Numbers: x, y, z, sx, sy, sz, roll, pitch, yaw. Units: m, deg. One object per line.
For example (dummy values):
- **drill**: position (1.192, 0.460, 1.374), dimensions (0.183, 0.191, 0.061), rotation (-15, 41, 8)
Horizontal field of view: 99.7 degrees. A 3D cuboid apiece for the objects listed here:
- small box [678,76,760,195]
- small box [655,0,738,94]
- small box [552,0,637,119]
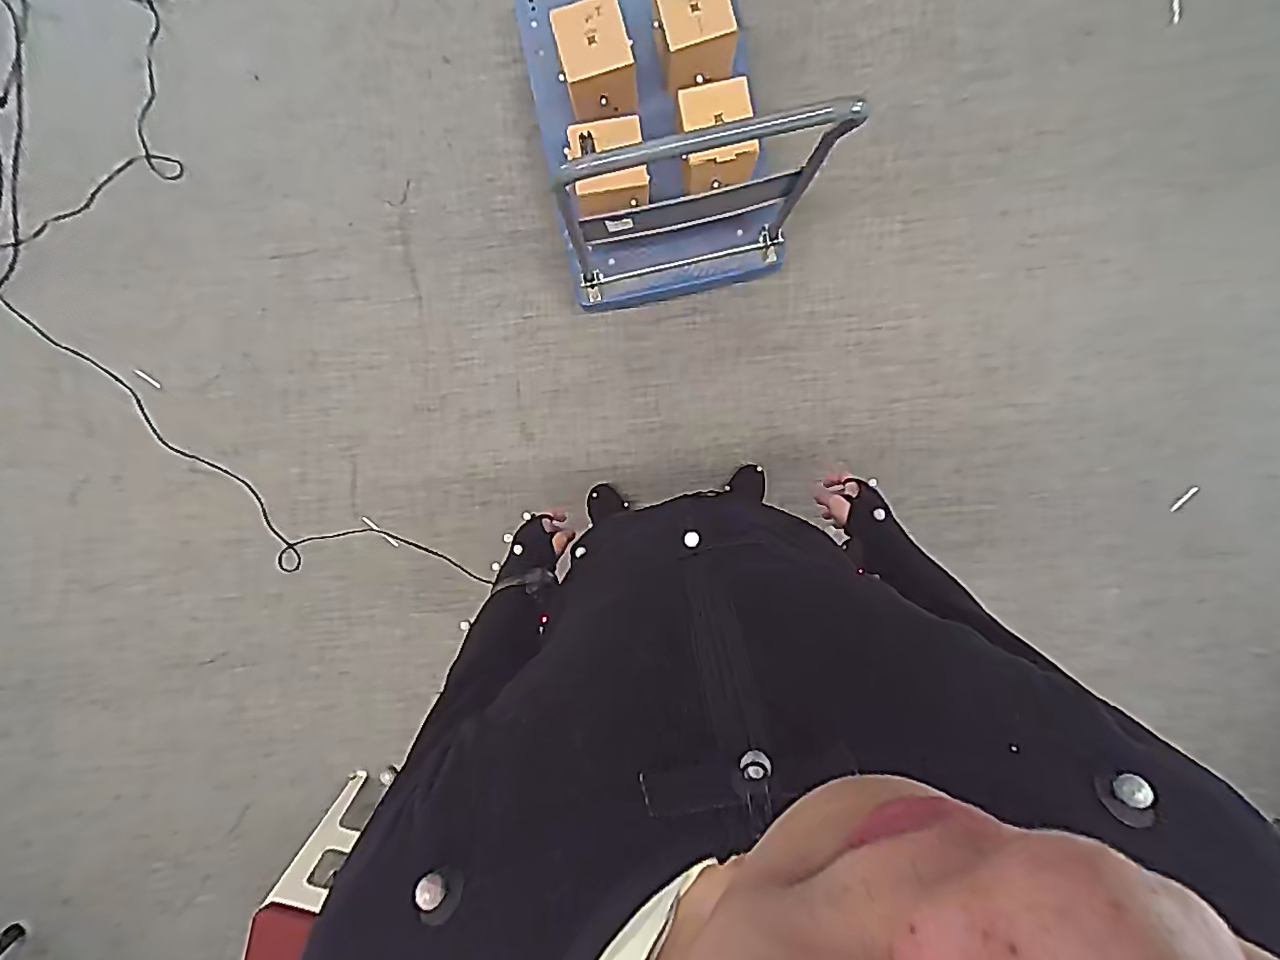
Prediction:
- **small box**: position (0.192, -0.858, 1.361), dimensions (0.168, 0.176, 0.179), rotation (-11, 92, 3)
- **small box**: position (0.135, -1.122, 1.352), dimensions (0.168, 0.176, 0.179), rotation (-15, 92, 4)
- **small box**: position (-0.107, -1.053, 1.365), dimensions (0.168, 0.176, 0.179), rotation (-16, 91, 2)
